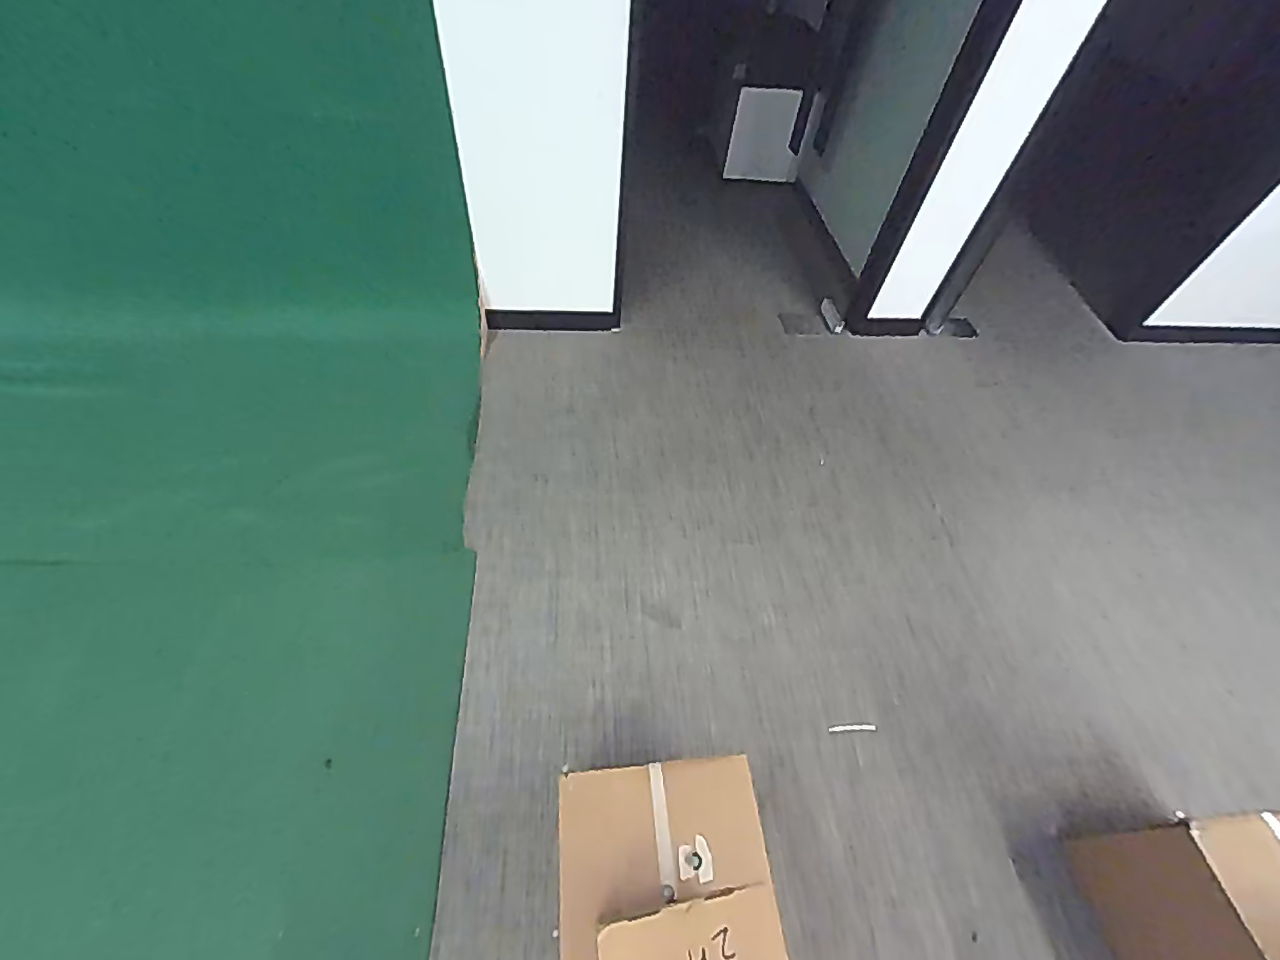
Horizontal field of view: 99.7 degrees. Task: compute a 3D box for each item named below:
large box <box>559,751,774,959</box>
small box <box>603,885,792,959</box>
[{"bbox_3d":[0.038,0.708,0.881,0.320,0.320,0.408,-2,52,-7],"label":"large box"},{"bbox_3d":[0.057,0.511,0.518,0.168,0.176,0.179,-6,53,-10],"label":"small box"}]
